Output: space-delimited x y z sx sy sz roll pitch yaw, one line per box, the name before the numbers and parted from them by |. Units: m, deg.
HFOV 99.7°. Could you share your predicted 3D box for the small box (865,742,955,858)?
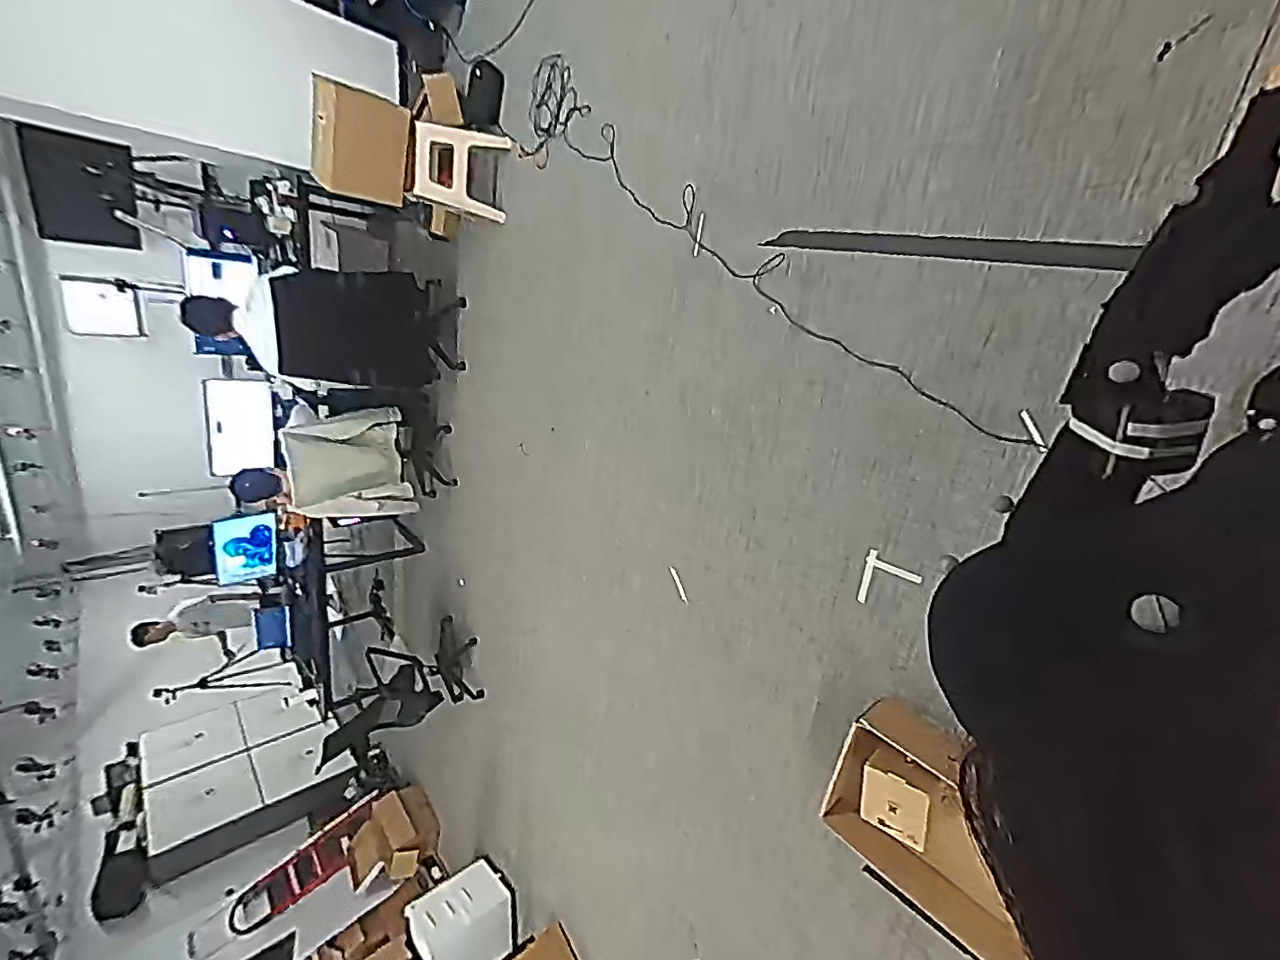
small box | 0.729 0.847 1.454 0.168 0.176 0.179 12 106 45
